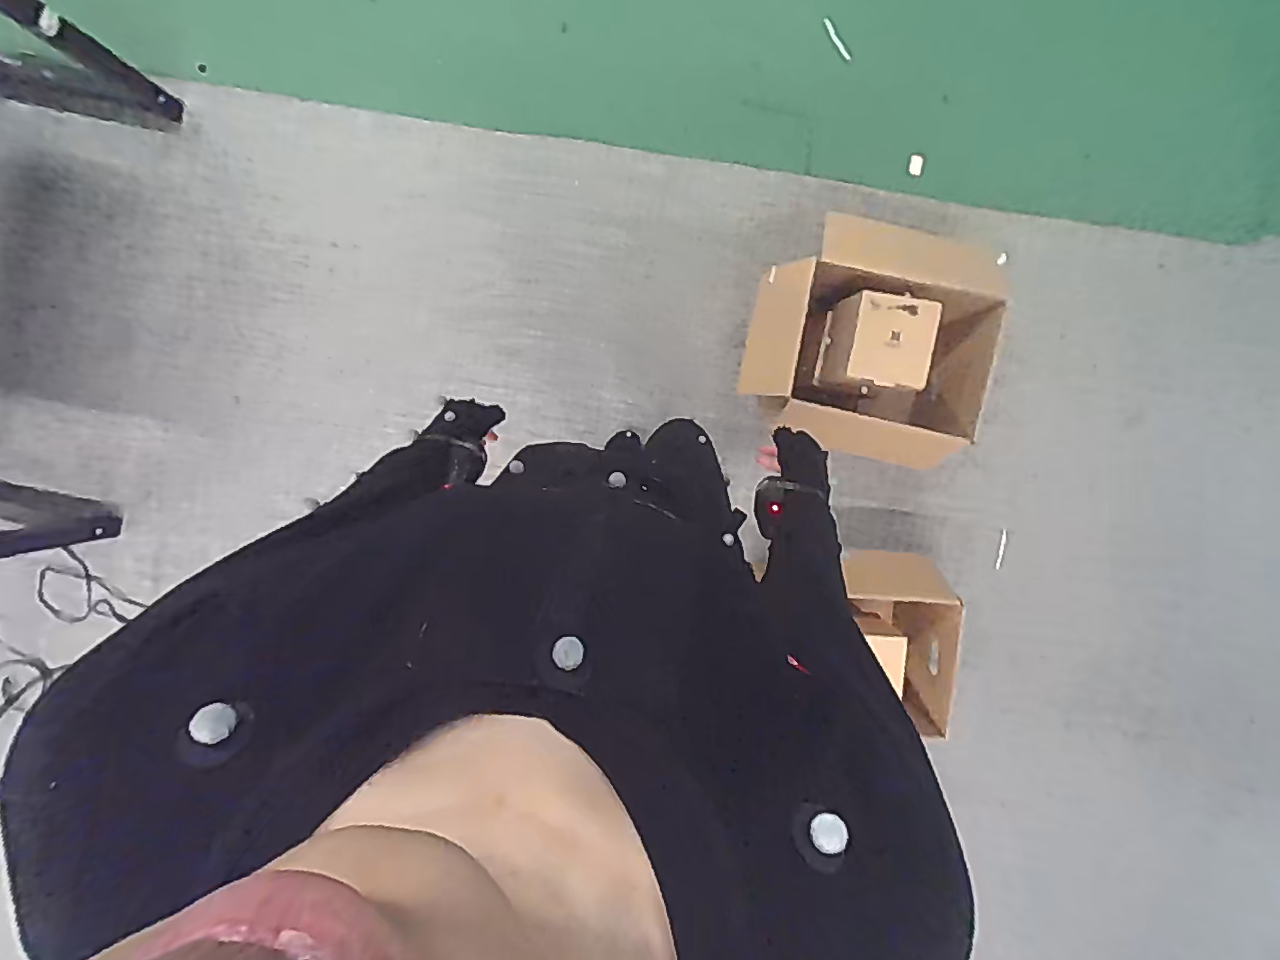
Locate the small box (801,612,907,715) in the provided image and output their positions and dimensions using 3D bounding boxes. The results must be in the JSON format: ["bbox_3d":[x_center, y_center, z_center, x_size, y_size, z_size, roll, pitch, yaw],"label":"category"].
[{"bbox_3d":[0.472,0.404,1.219,0.179,0.176,0.168,4,95,2],"label":"small box"}]
